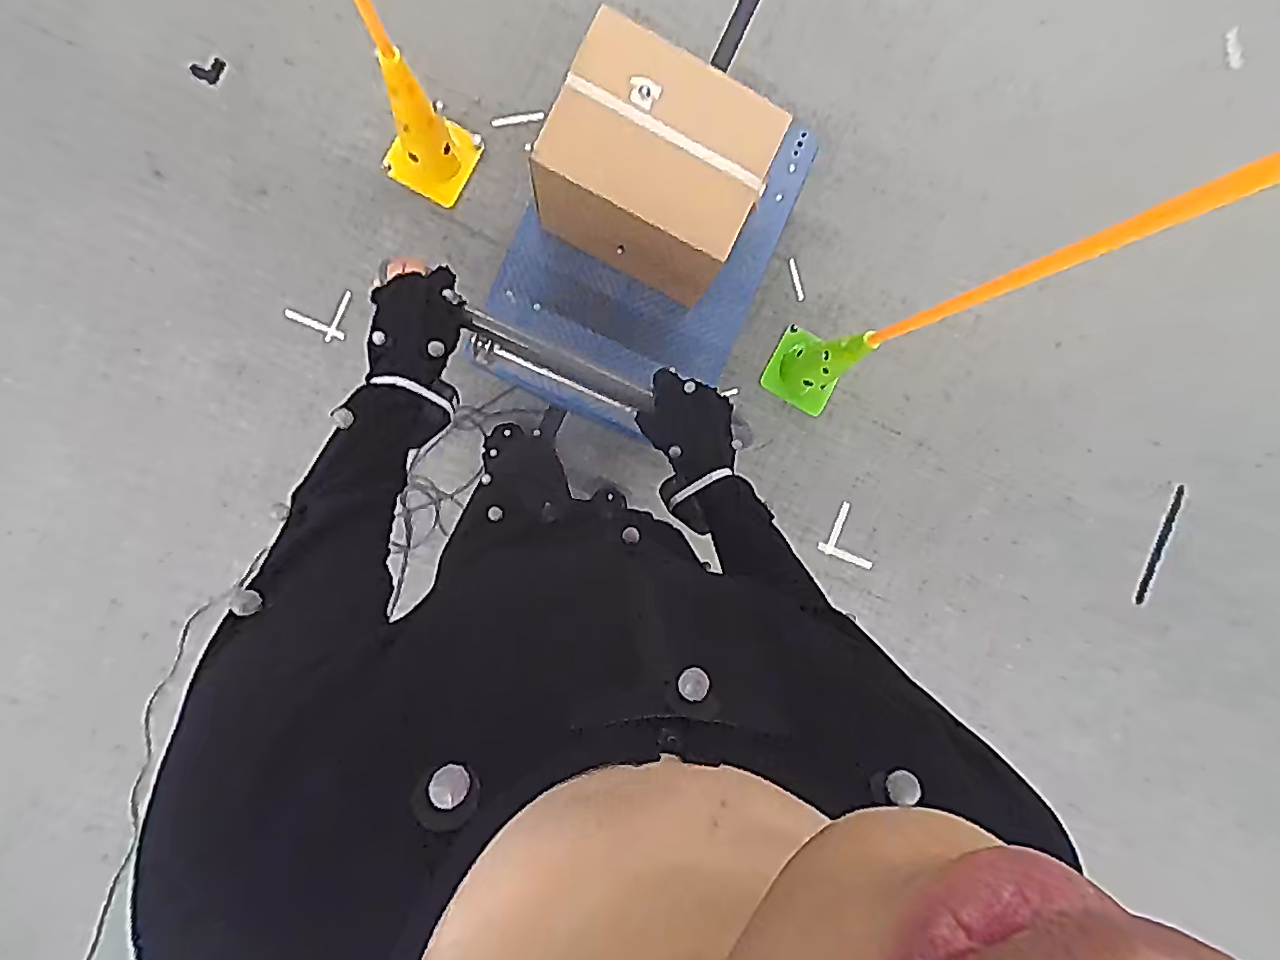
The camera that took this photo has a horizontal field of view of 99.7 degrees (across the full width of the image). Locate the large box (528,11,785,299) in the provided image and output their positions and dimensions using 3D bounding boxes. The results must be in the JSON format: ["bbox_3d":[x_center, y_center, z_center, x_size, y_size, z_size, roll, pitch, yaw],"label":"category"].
[{"bbox_3d":[0.025,-0.645,1.152,0.408,0.320,0.320,26,89,-6],"label":"large box"}]

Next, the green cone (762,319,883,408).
[{"bbox_3d":[0.484,-0.321,1.355,0.202,0.368,0.200,28,88,-8],"label":"green cone"}]
